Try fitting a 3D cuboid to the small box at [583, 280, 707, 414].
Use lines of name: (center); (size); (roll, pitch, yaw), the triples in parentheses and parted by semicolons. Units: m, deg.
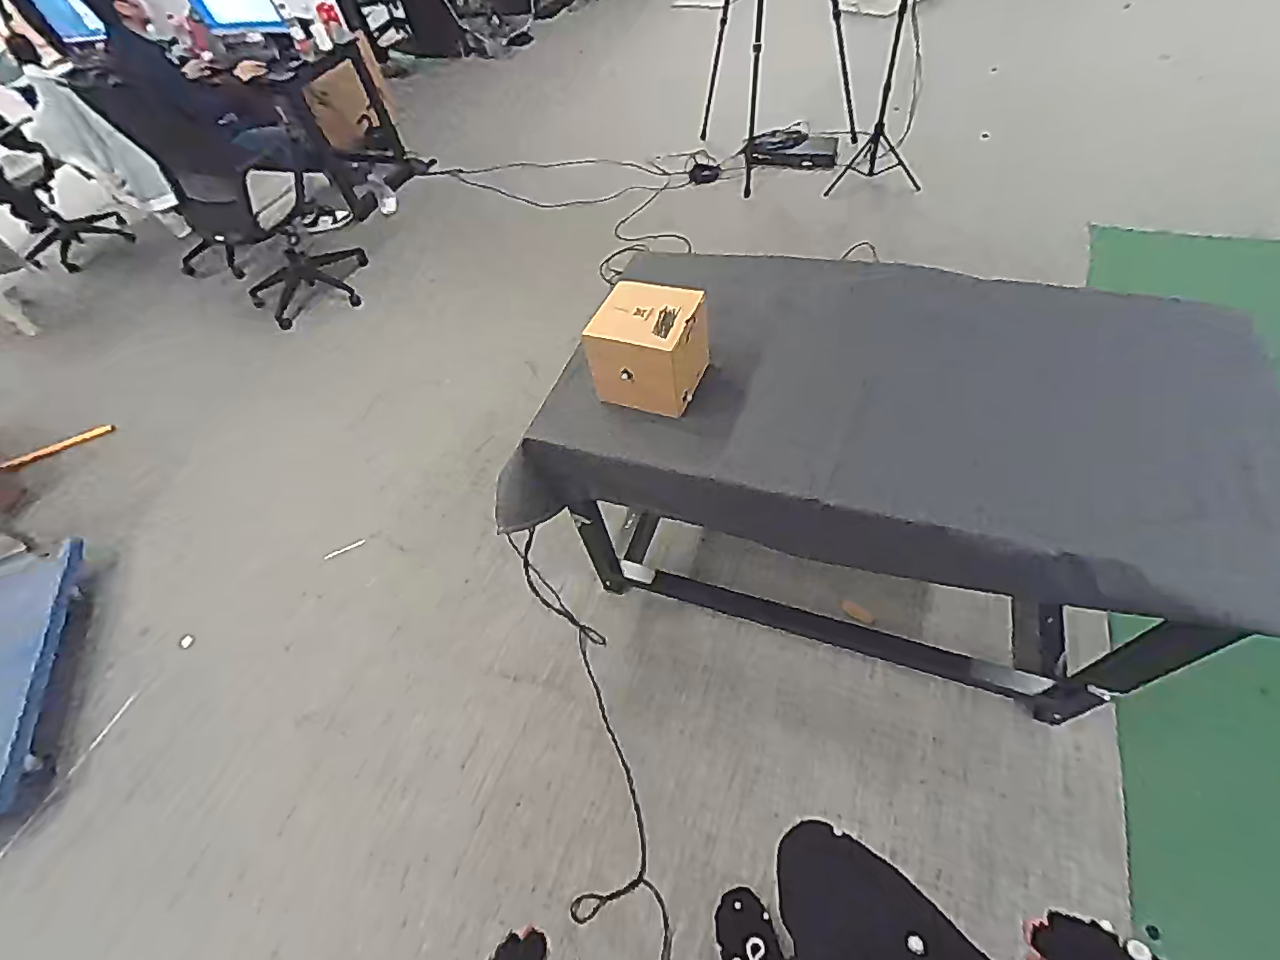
small box: (0.021, -0.246, 1.019); (0.179, 0.176, 0.168); (16, 58, 20)
